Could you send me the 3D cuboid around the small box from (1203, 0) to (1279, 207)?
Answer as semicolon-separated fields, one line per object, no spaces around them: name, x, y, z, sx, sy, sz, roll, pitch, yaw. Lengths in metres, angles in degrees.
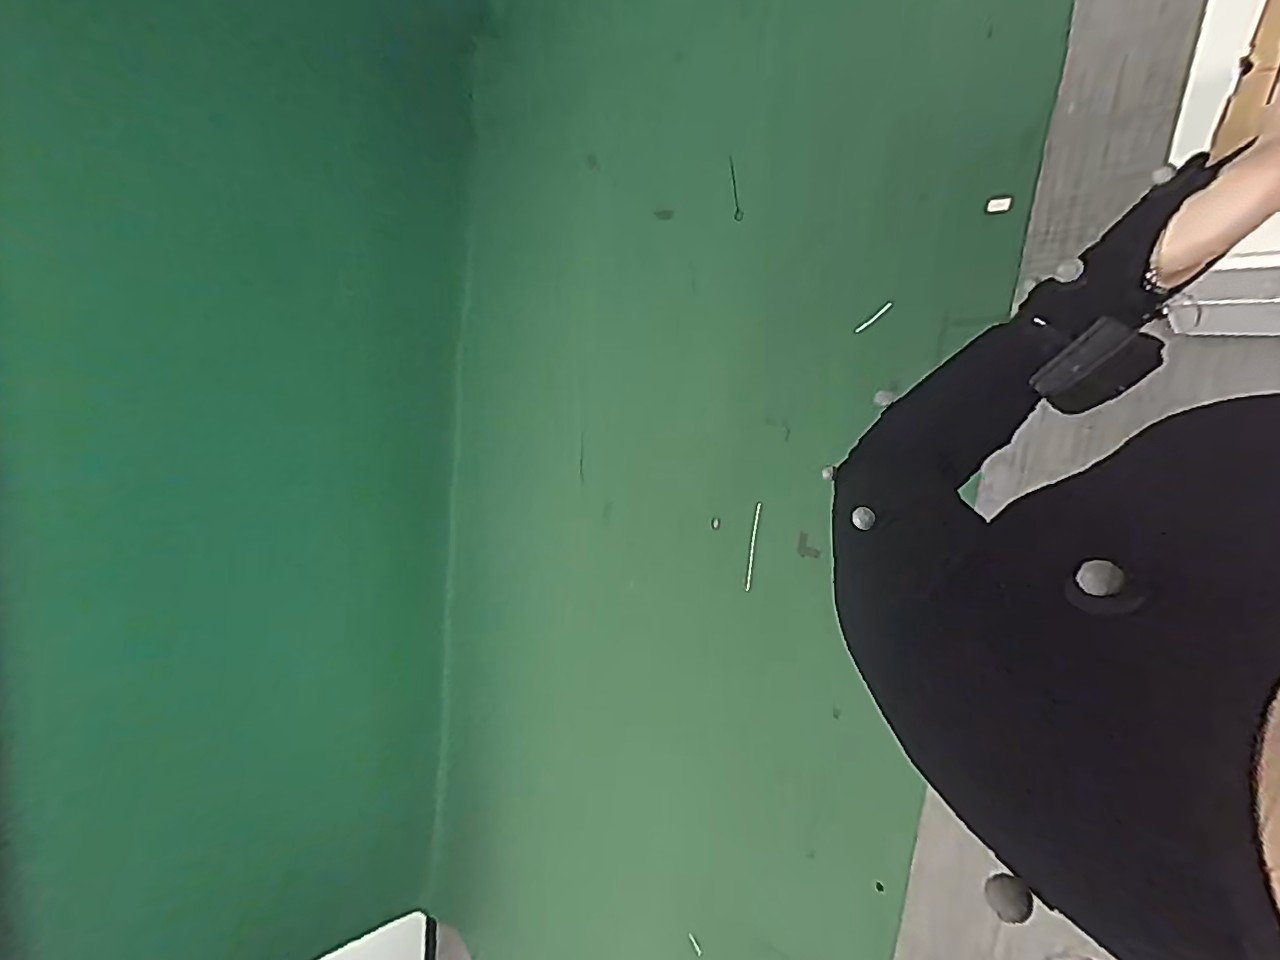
small box;0.700;-0.380;0.524;0.179;0.176;0.168;24;107;44
